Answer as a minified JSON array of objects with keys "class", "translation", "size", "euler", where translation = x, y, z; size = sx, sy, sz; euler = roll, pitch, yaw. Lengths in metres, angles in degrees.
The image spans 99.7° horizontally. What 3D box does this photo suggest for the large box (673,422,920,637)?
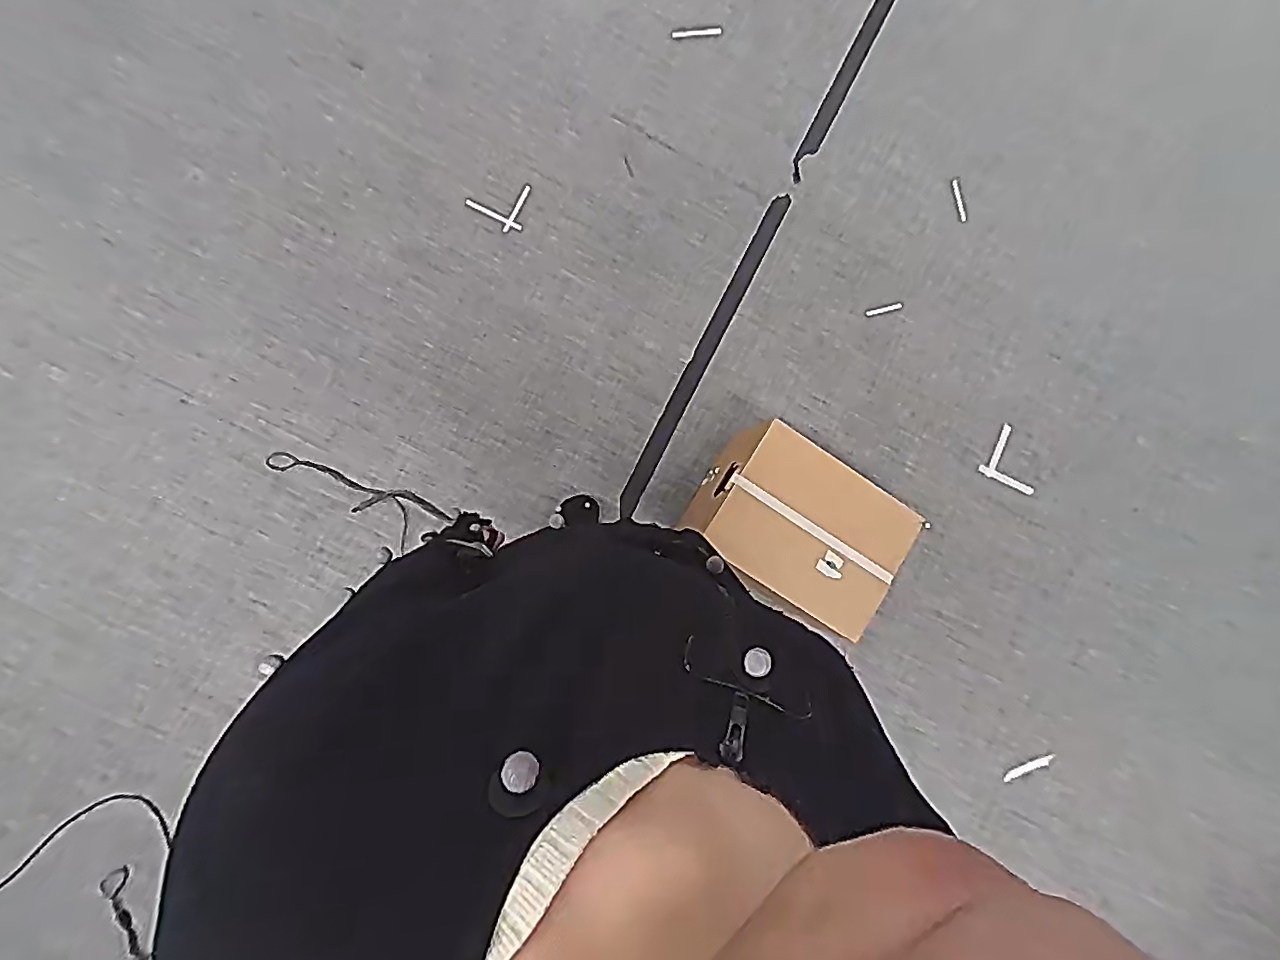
[{"class":"large box","translation":[0.345,0.111,1.289],"size":[0.408,0.320,0.320],"euler":[33,85,-5]}]
